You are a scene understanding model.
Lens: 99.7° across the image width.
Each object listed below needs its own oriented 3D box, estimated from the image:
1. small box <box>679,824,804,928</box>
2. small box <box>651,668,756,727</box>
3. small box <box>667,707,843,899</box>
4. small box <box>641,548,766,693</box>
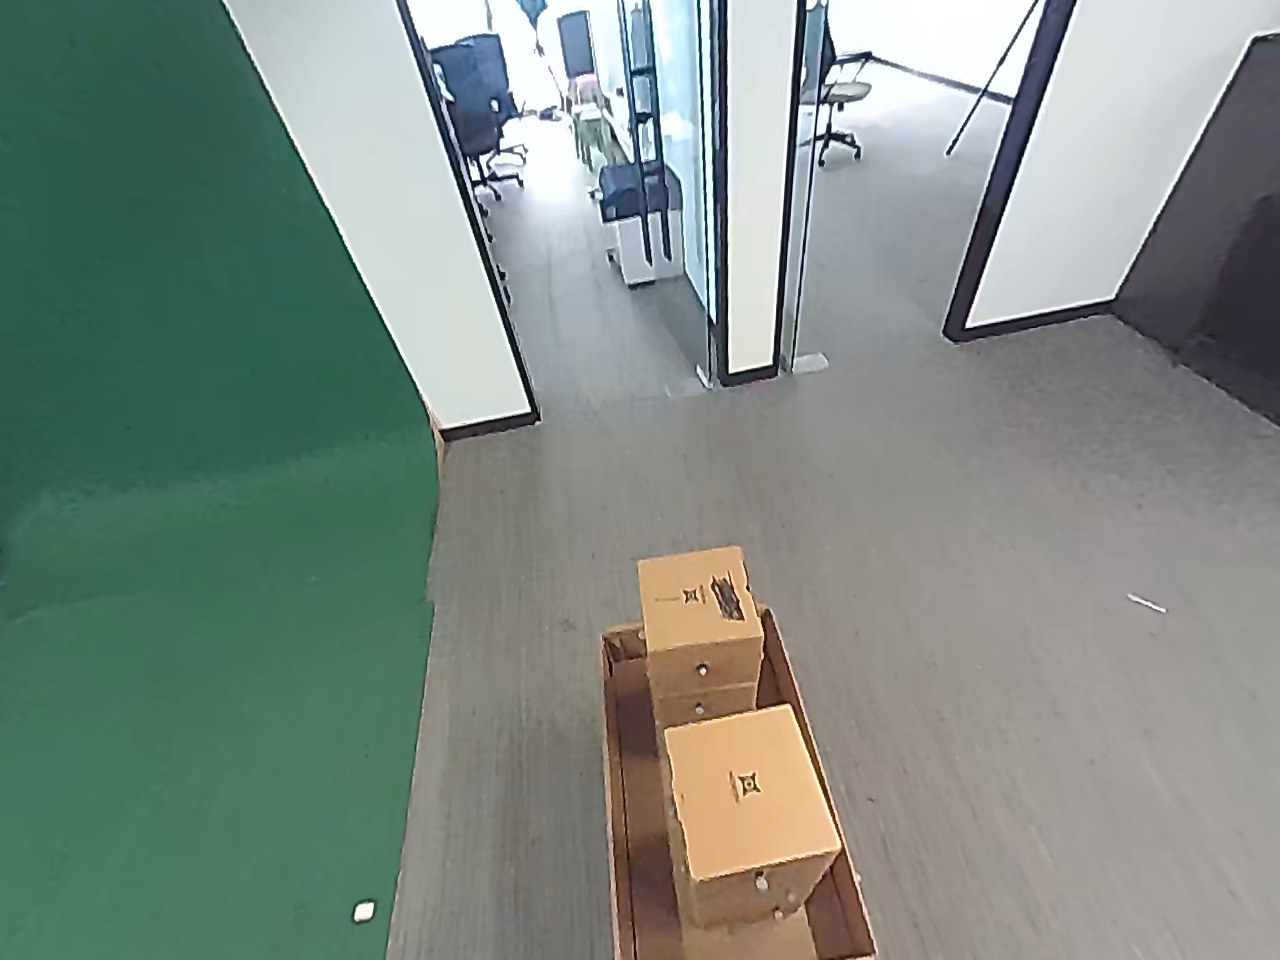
[{"bbox_3d":[0.165,0.653,0.939,0.179,0.176,0.168,-9,44,-1],"label":"small box"},{"bbox_3d":[0.114,0.350,1.019,0.179,0.176,0.168,-7,47,2],"label":"small box"},{"bbox_3d":[0.137,0.424,0.708,0.179,0.176,0.168,-11,45,-2],"label":"small box"},{"bbox_3d":[0.100,0.236,0.901,0.179,0.176,0.168,-8,46,1],"label":"small box"}]
